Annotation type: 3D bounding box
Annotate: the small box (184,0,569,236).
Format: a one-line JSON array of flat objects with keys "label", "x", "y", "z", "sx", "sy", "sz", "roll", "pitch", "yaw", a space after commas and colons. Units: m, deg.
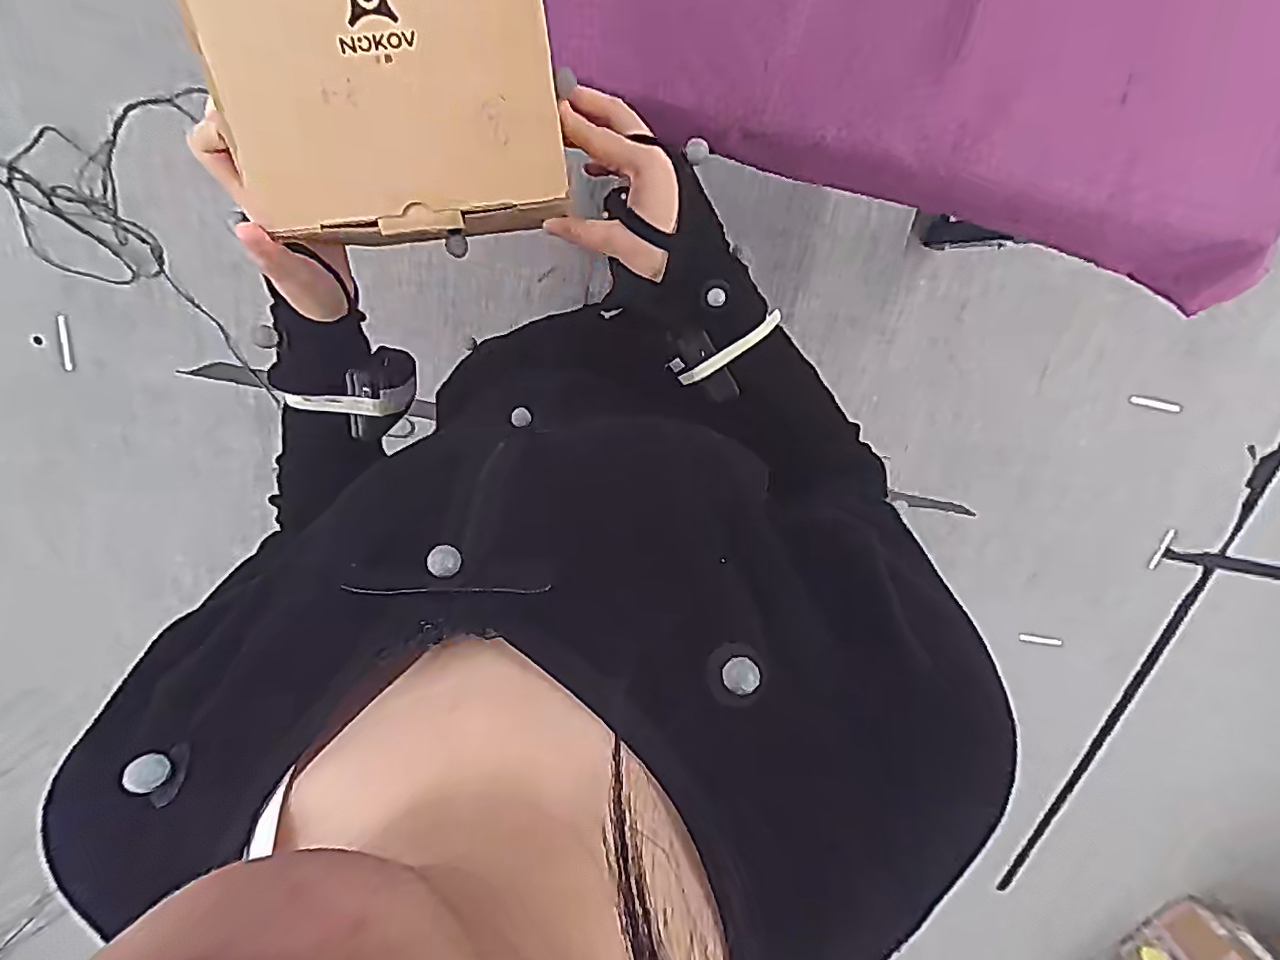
[{"label": "small box", "x": -0.137, "y": -0.252, "z": 0.333, "sx": 0.168, "sy": 0.176, "sz": 0.179, "roll": -8, "pitch": 113, "yaw": -4}]
